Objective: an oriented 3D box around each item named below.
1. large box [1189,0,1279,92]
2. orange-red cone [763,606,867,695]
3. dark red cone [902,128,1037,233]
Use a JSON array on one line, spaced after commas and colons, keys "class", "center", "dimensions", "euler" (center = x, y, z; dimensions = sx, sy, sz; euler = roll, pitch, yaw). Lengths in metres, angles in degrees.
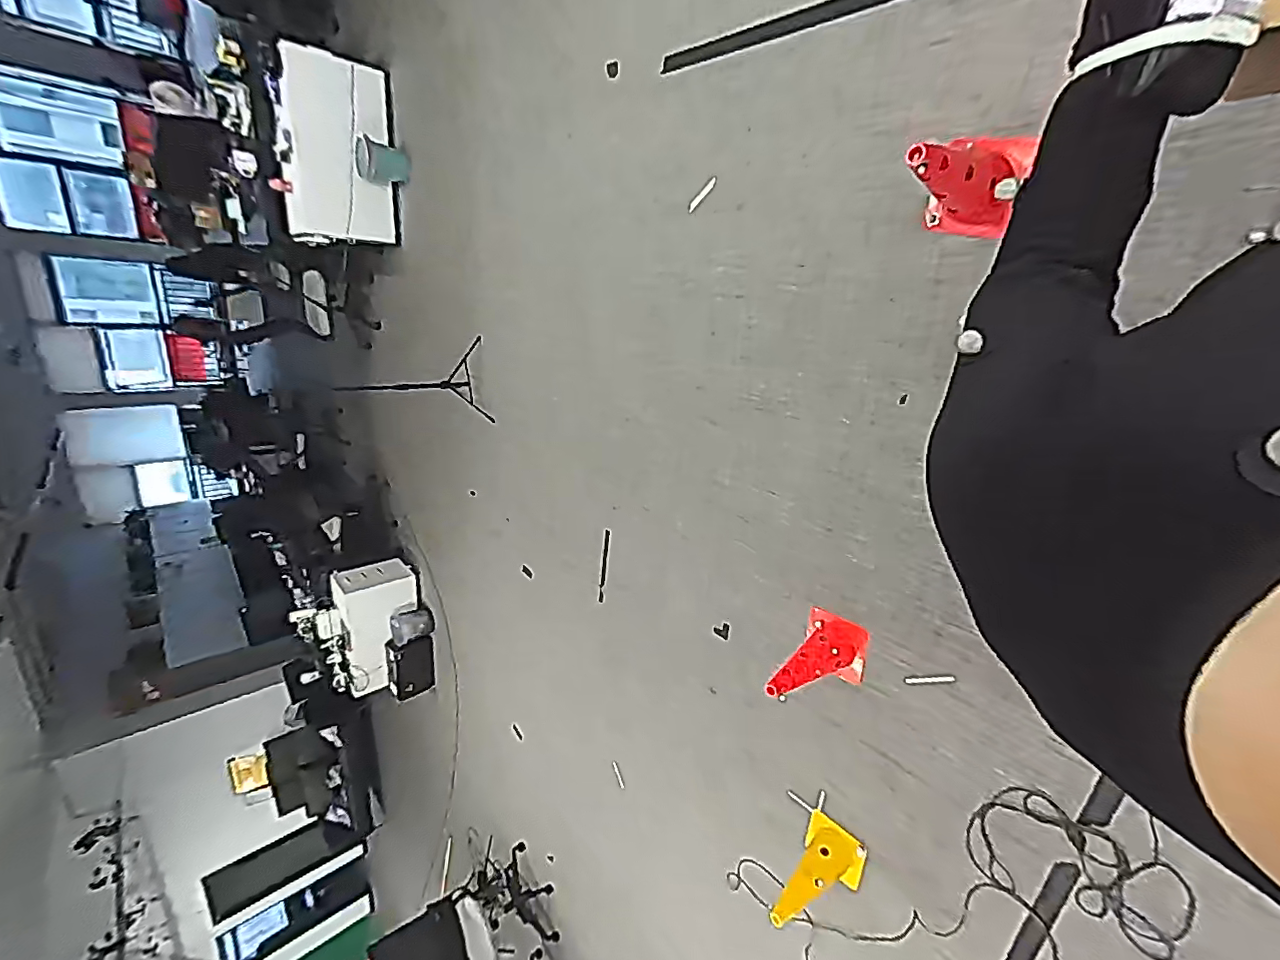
[{"class": "large box", "center": [0.597, -0.438, 0.261], "dimensions": [0.408, 0.320, 0.320], "euler": [20, 123, 43]}, {"class": "orange-red cone", "center": [0.490, 0.548, 1.607], "dimensions": [0.198, 0.360, 0.199], "euler": [22, 117, 45]}, {"class": "dark red cone", "center": [0.631, -0.644, 1.108], "dimensions": [0.201, 0.394, 0.202], "euler": [31, 121, 39]}]
